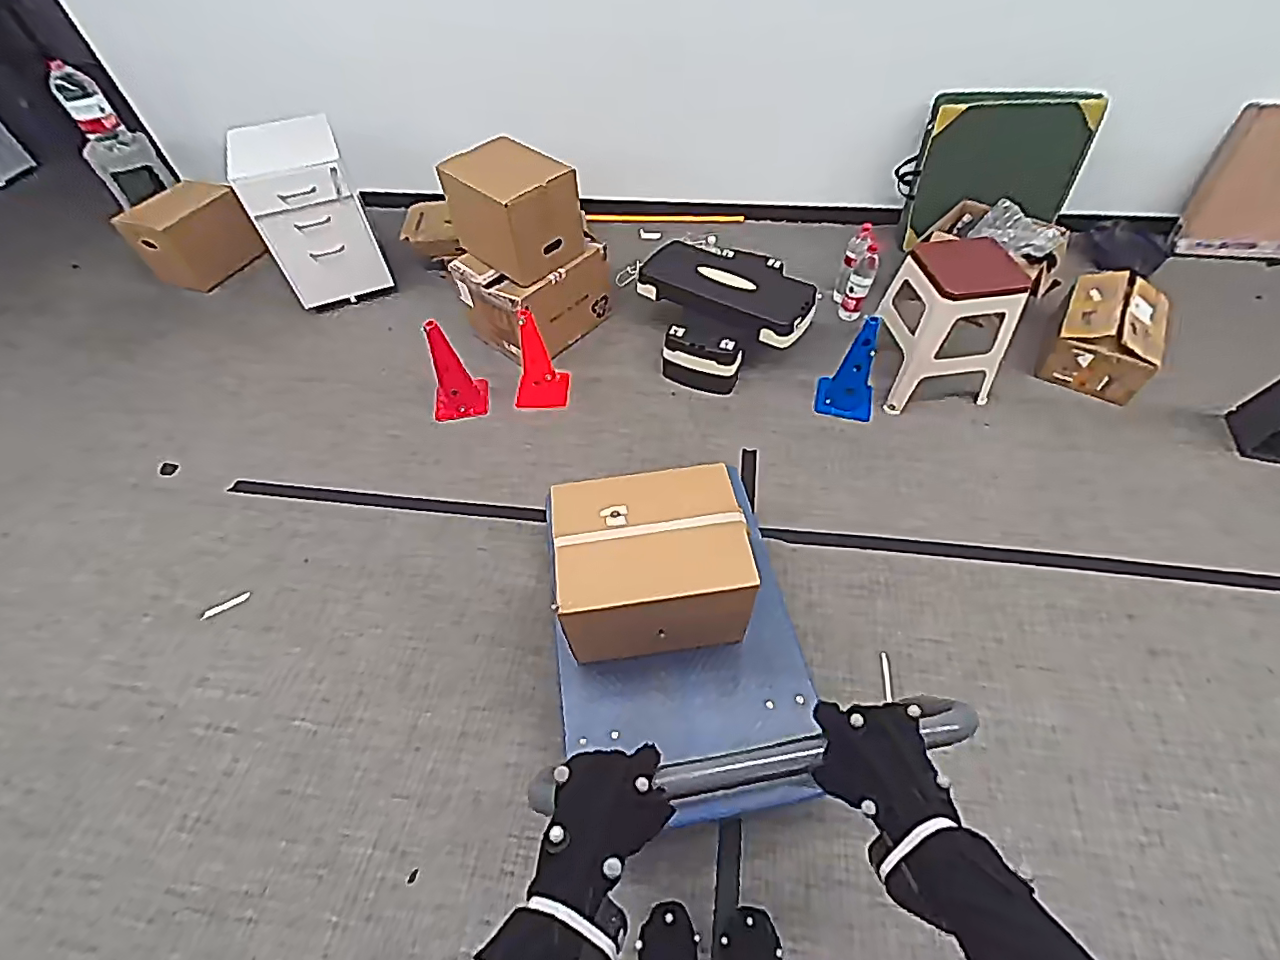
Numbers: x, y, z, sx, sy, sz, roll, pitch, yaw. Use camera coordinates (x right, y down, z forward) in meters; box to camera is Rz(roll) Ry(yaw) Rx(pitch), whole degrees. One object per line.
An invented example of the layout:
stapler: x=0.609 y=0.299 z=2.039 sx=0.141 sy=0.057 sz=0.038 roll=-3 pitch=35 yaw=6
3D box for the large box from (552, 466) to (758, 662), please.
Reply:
large box: x=0.026 y=0.204 z=1.267 sx=0.408 sy=0.320 sz=0.320 roll=-8 pitch=54 yaw=-2
